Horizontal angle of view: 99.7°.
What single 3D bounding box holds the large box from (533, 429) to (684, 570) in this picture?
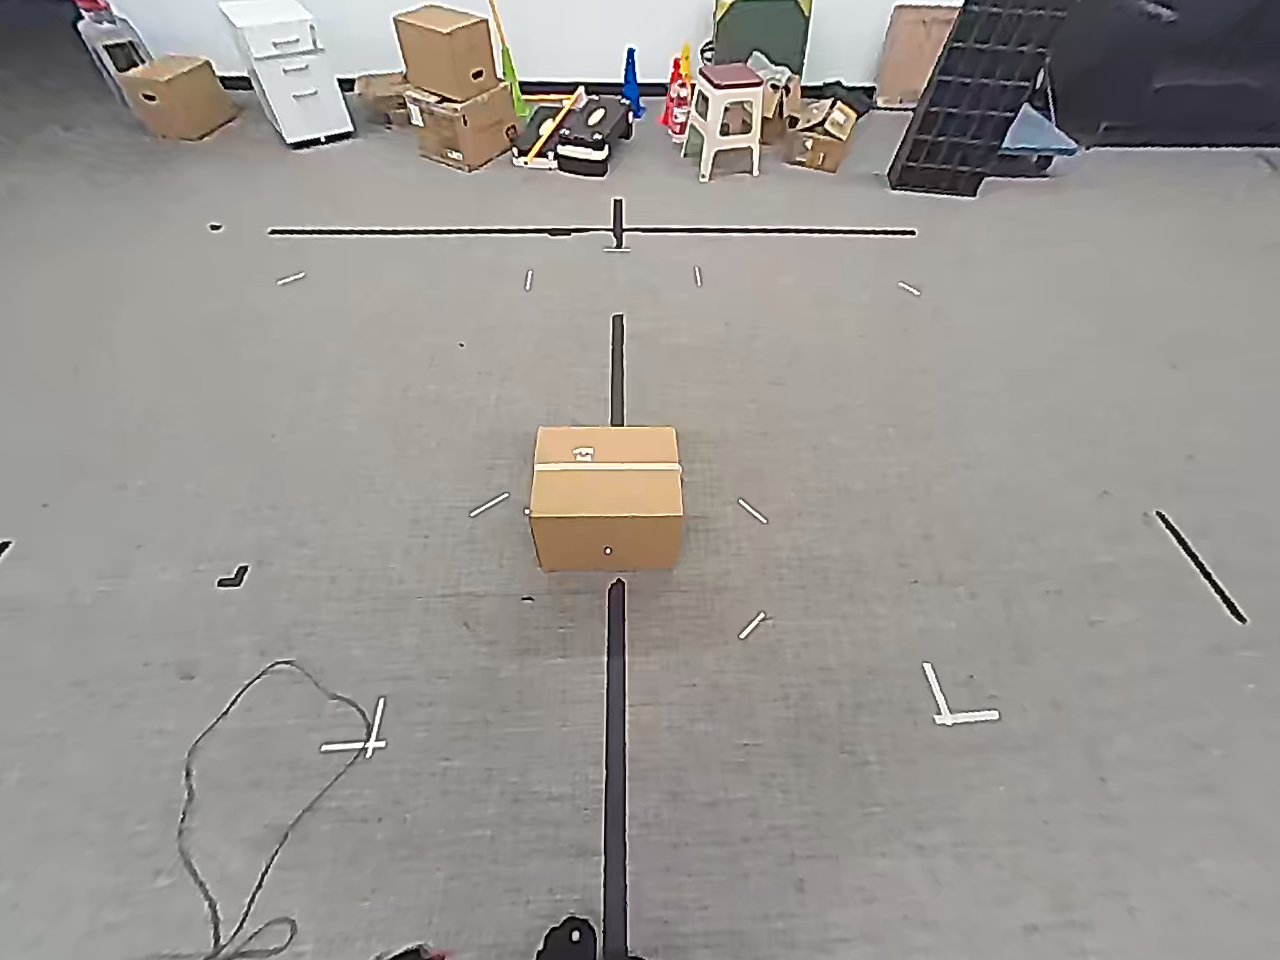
[{"bbox_3d":[-0.089,0.064,1.622,0.408,0.320,0.320,-1,53,-2],"label":"large box"}]
